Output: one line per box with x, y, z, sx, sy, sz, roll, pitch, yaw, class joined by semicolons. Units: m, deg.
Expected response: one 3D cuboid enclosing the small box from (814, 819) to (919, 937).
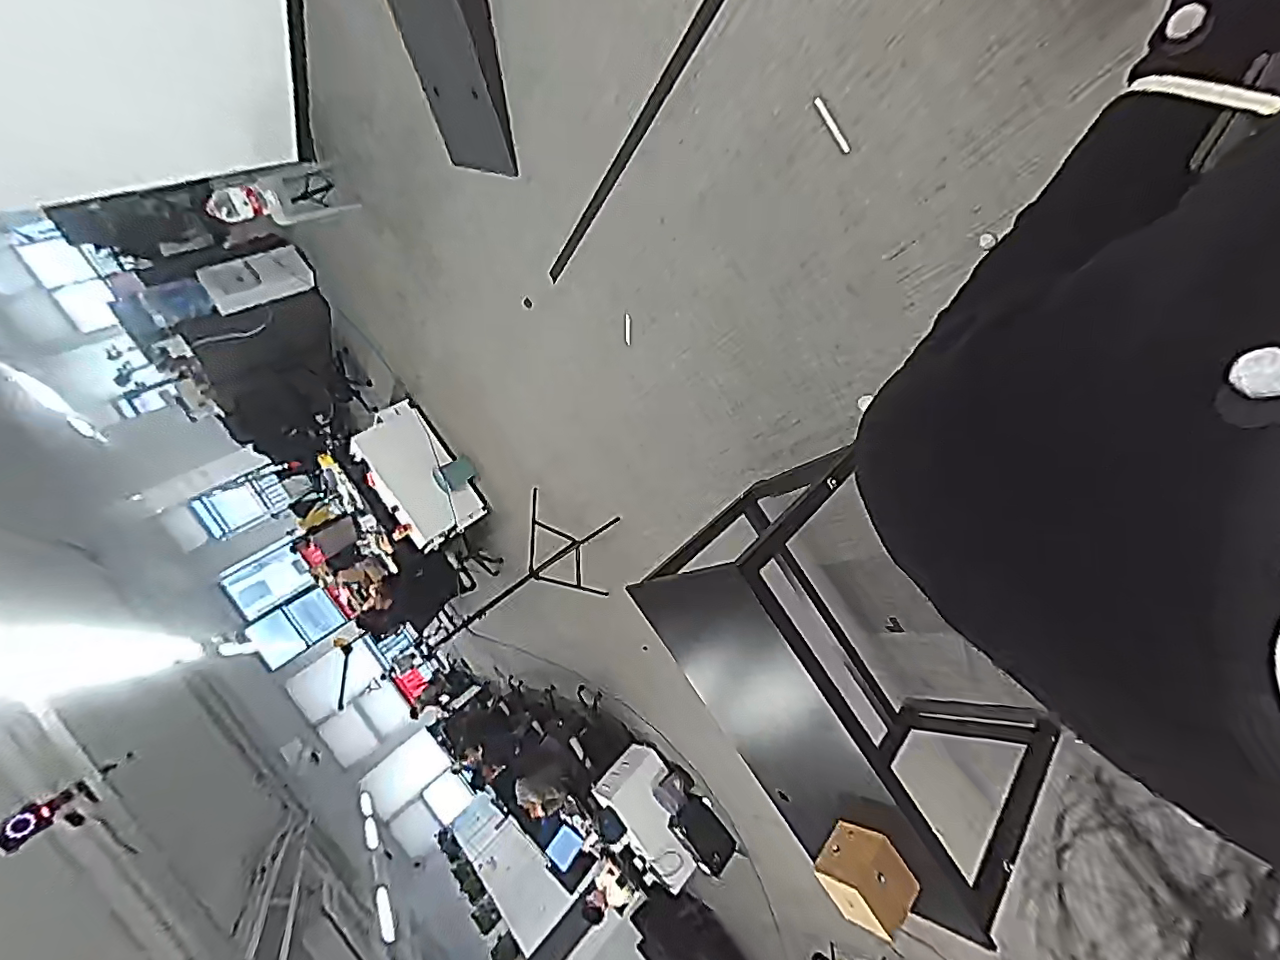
0.624;1.080;1.487;0.179;0.176;0.168;54;149;-2;small box
